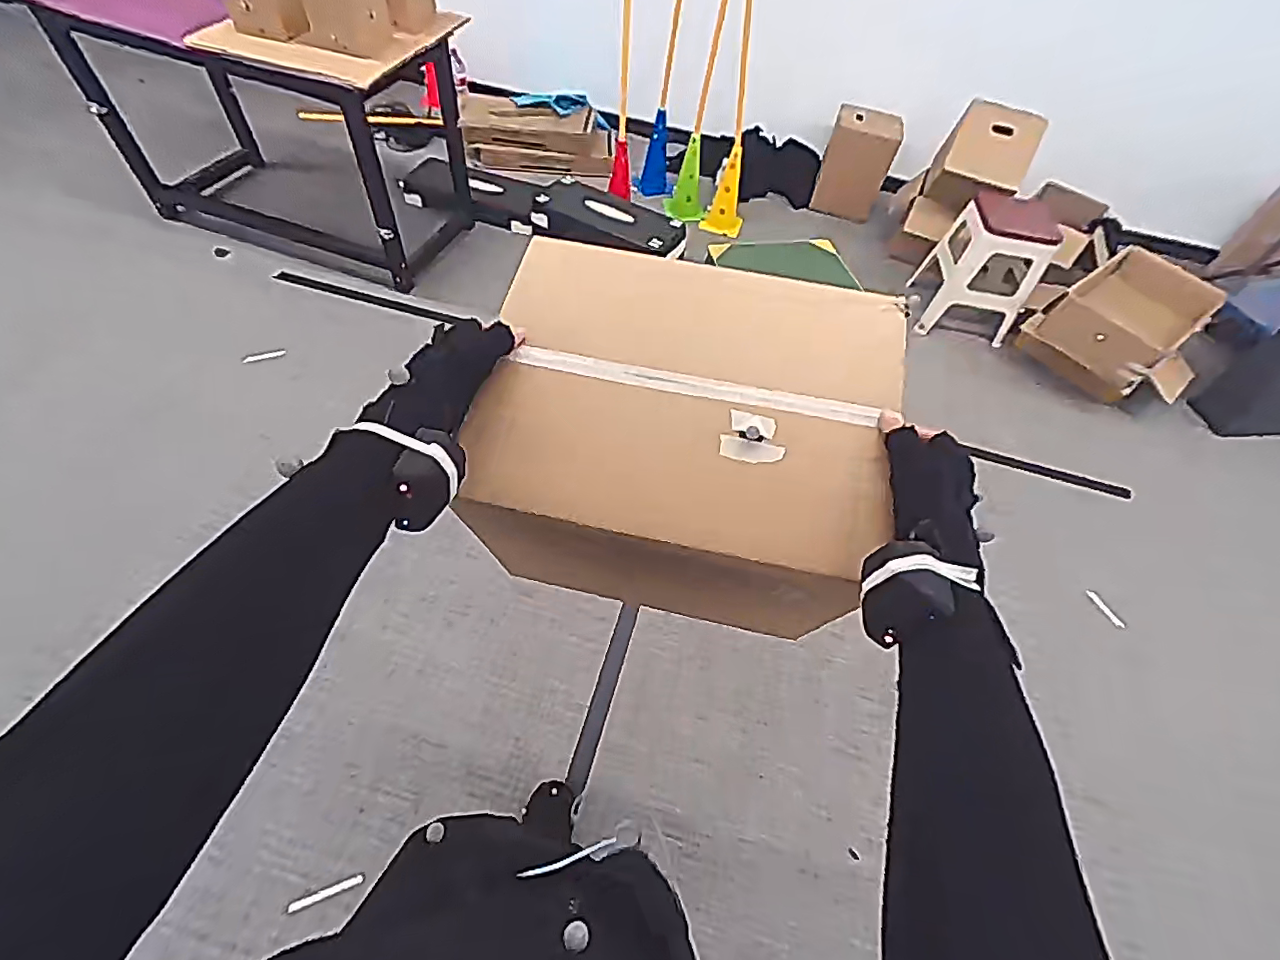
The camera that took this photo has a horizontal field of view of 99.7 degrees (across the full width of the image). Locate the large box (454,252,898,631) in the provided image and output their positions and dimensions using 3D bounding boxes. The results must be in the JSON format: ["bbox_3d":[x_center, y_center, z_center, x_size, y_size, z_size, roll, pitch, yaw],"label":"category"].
[{"bbox_3d":[0.049,-0.026,0.673,0.408,0.320,0.320,12,68,5],"label":"large box"}]
